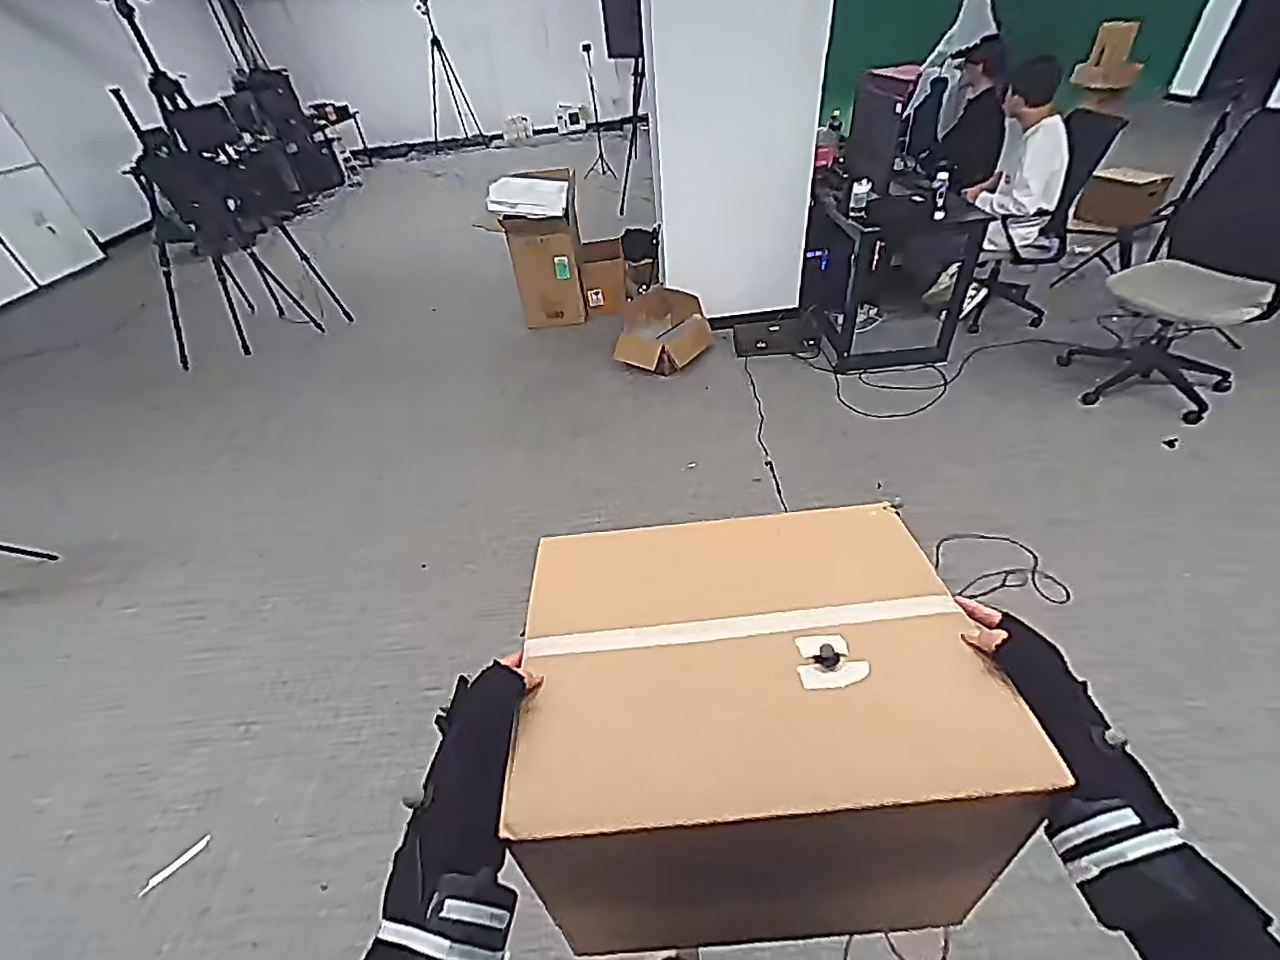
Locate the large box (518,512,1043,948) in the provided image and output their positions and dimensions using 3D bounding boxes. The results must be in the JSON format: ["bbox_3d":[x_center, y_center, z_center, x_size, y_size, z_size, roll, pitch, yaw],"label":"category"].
[{"bbox_3d":[0.108,0.268,0.606,0.408,0.320,0.320,-6,37,1],"label":"large box"}]
